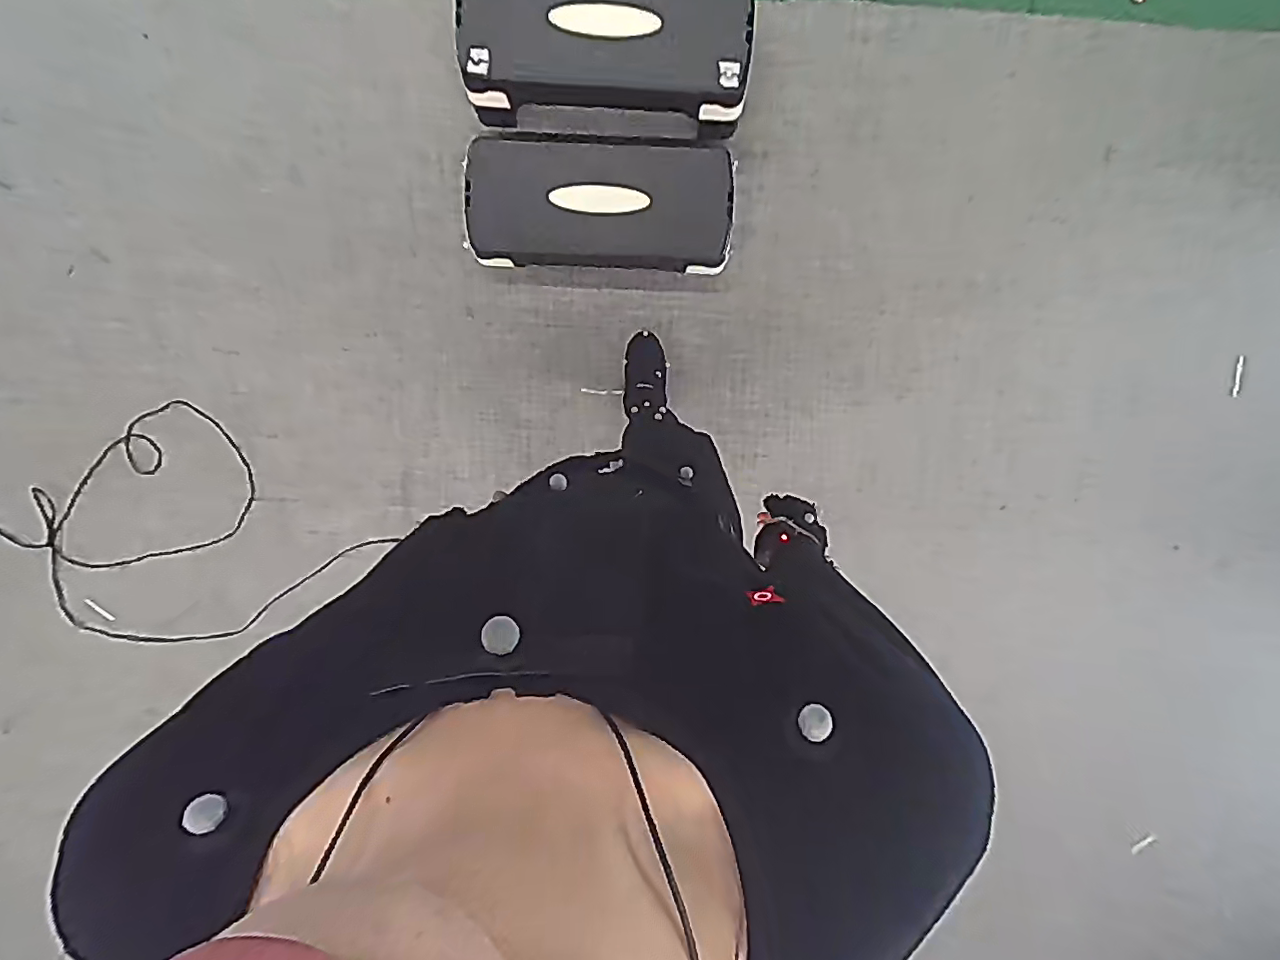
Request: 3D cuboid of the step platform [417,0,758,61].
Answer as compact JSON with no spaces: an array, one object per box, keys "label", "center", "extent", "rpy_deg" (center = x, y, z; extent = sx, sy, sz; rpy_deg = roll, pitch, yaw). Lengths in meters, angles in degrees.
[{"label":"step platform","center":[-0.103,-1.032,1.056],"extent":[0.684,0.204,0.286],"rpy_deg":[2,98,-1]}]
